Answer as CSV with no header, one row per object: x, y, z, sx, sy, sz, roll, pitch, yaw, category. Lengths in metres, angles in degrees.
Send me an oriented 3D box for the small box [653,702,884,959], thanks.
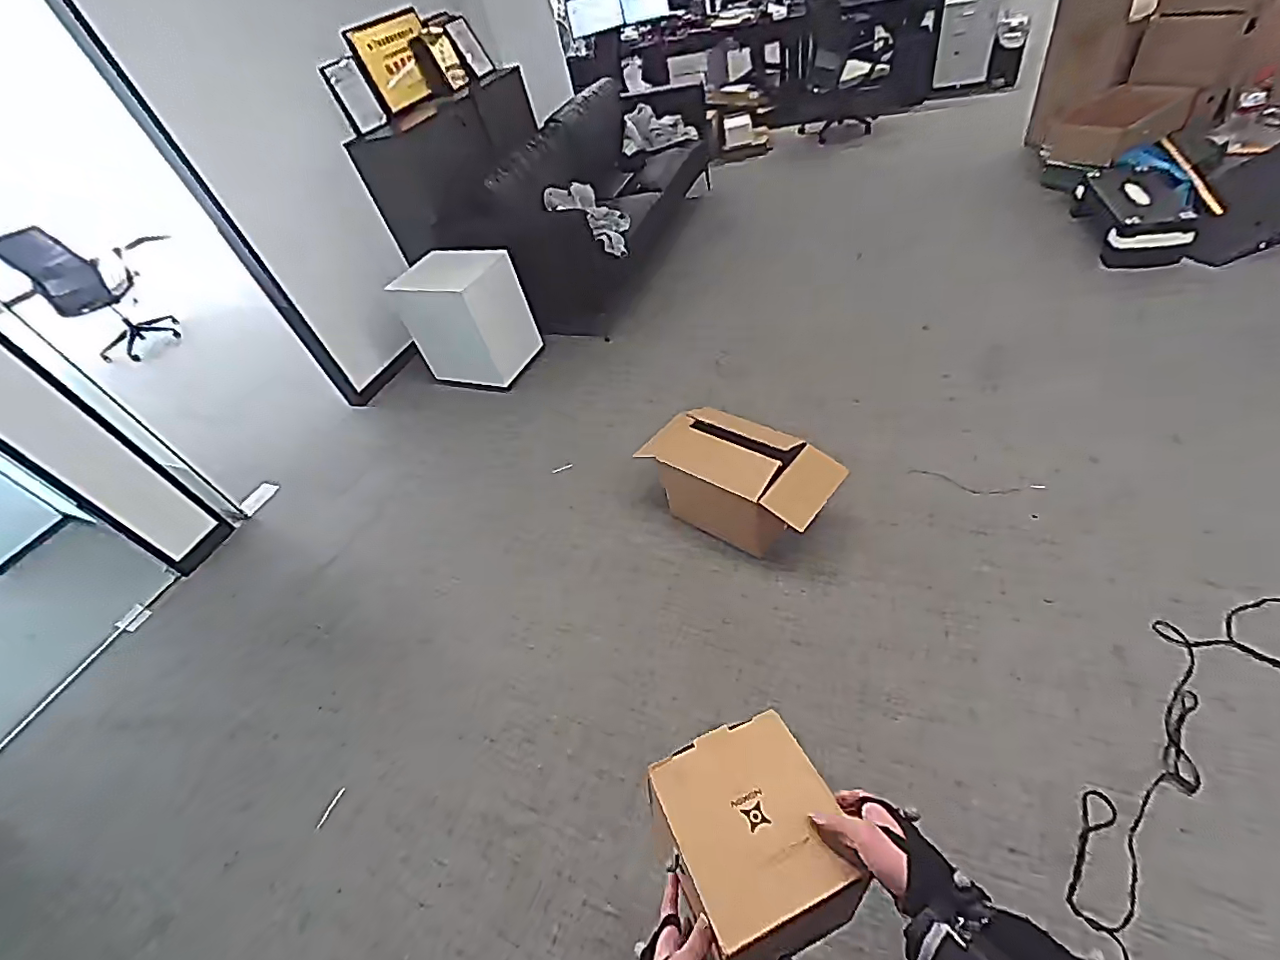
0.122,0.383,0.580,0.168,0.176,0.179,-17,38,-13,small box
